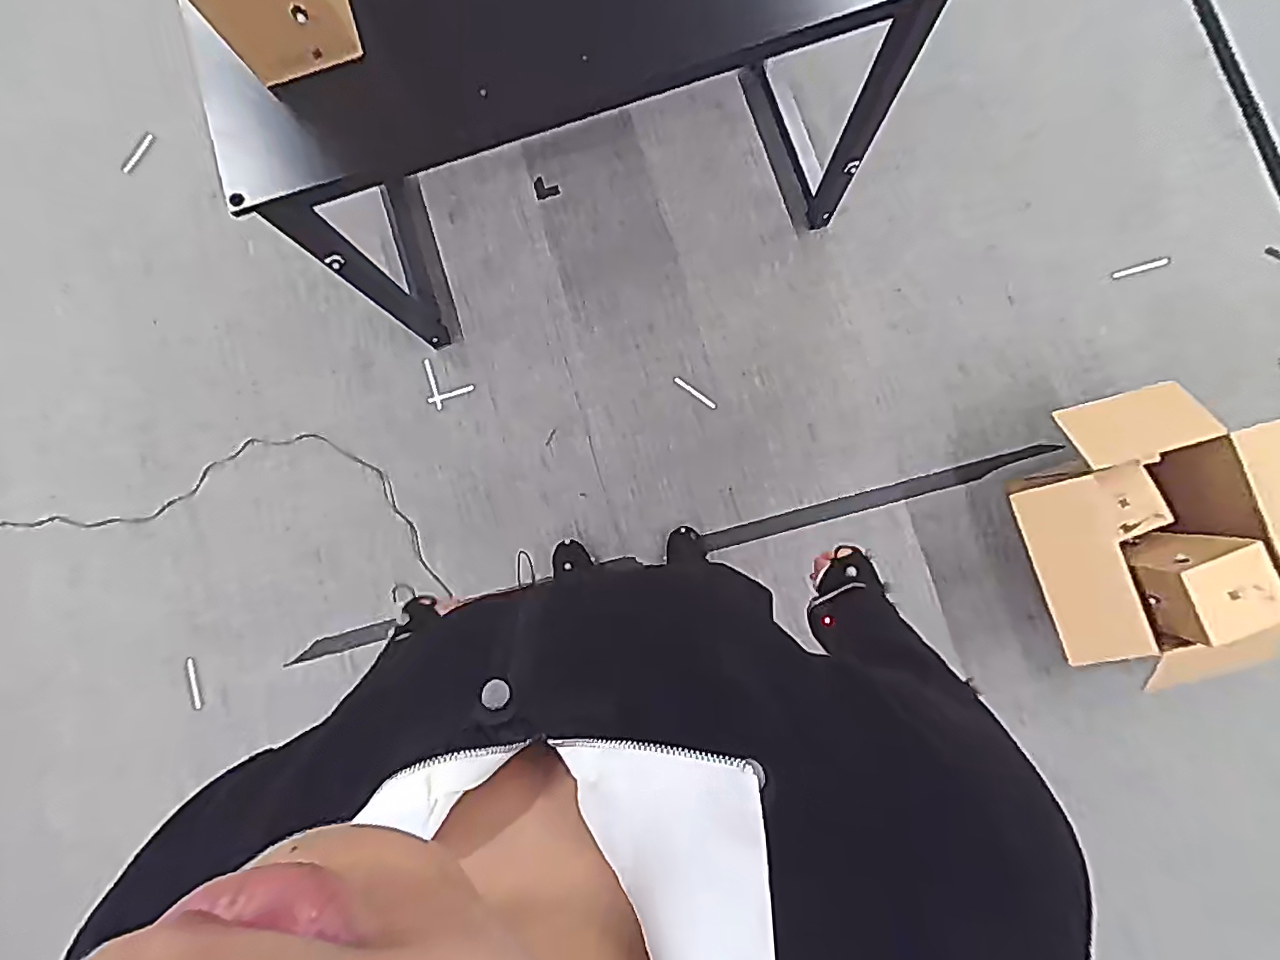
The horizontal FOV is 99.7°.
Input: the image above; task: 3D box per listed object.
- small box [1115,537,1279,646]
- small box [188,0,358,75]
[{"bbox_3d":[1.191,0.234,1.172,0.179,0.176,0.168,-22,89,1],"label":"small box"},{"bbox_3d":[-0.541,-0.732,0.780,0.168,0.176,0.179,-17,84,0],"label":"small box"}]
